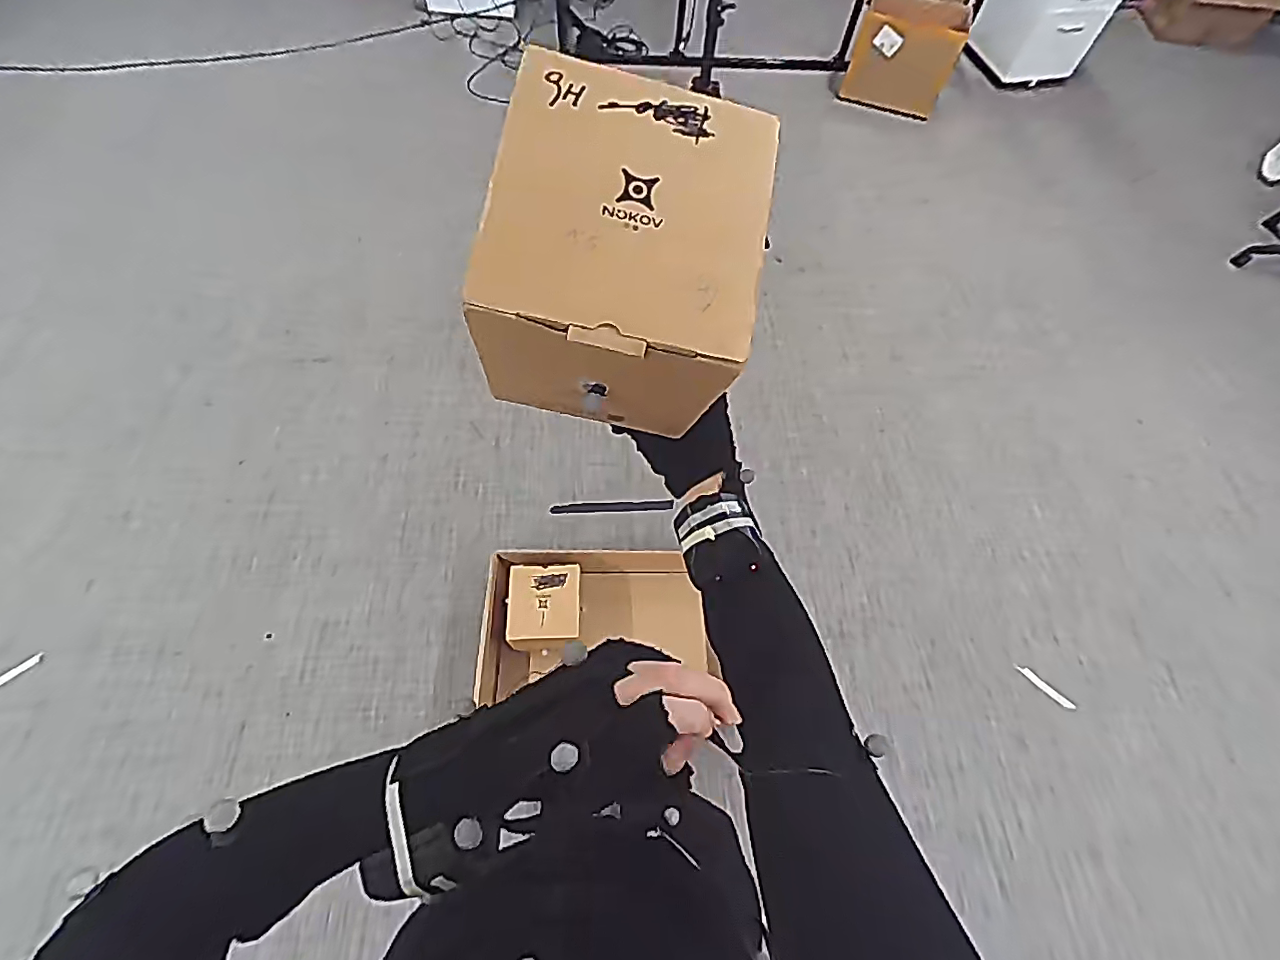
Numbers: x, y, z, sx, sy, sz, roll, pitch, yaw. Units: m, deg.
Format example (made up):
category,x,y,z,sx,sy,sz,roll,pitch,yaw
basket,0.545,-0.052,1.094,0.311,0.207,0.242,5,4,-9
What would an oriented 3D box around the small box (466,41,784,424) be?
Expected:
category,x,y,z,sx,sy,sz,roll,pitch,yaw
small box,-0.014,-0.153,0.397,0.168,0.176,0.179,11,79,-7
